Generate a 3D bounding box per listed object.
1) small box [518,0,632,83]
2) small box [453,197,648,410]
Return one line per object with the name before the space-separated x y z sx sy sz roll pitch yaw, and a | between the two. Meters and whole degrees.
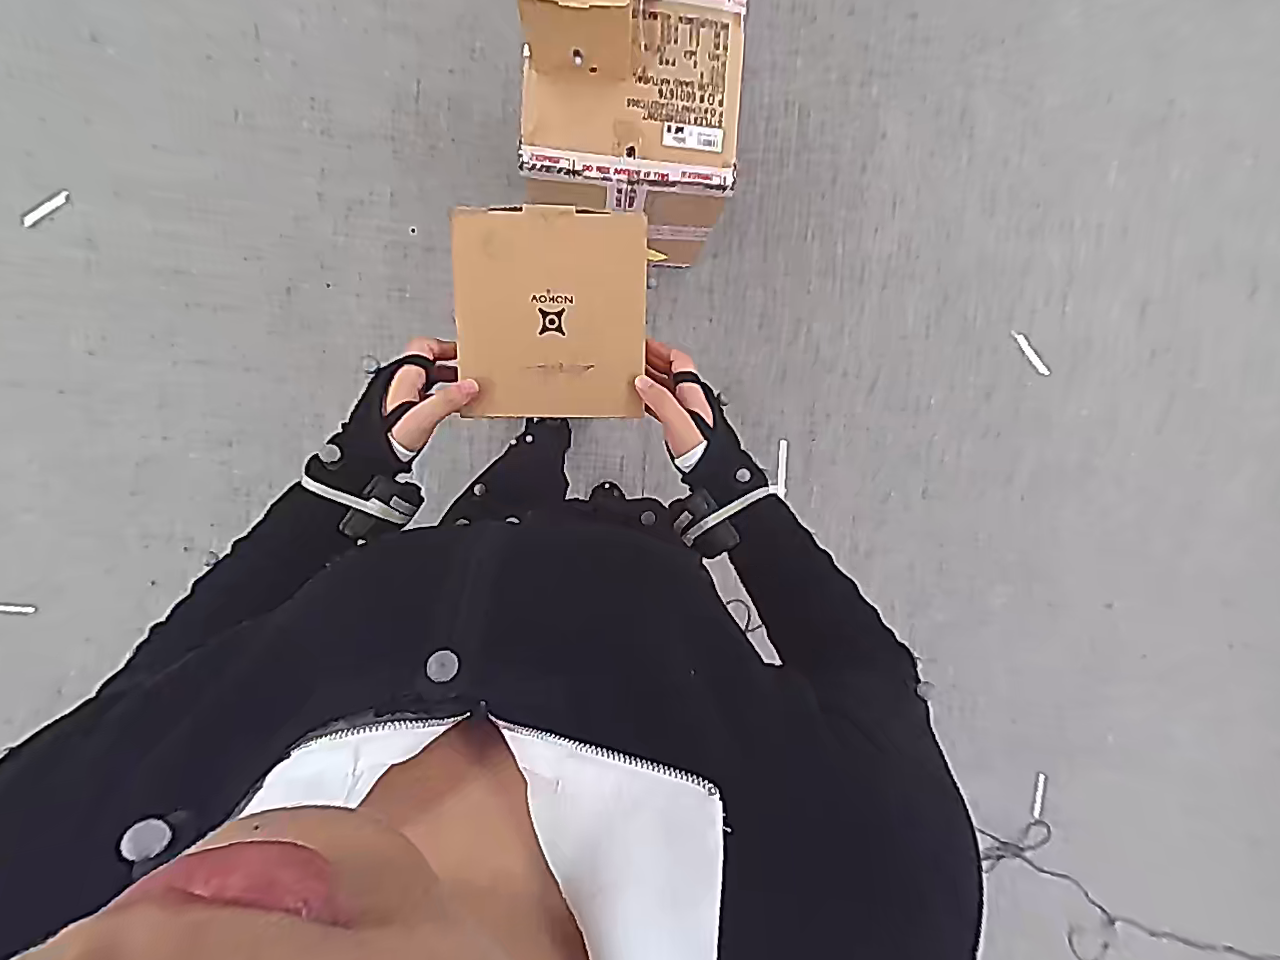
small box | -0.095 -0.773 0.848 0.168 0.176 0.179 3 97 -3
small box | -0.082 -0.163 0.547 0.168 0.176 0.179 0 101 -4
